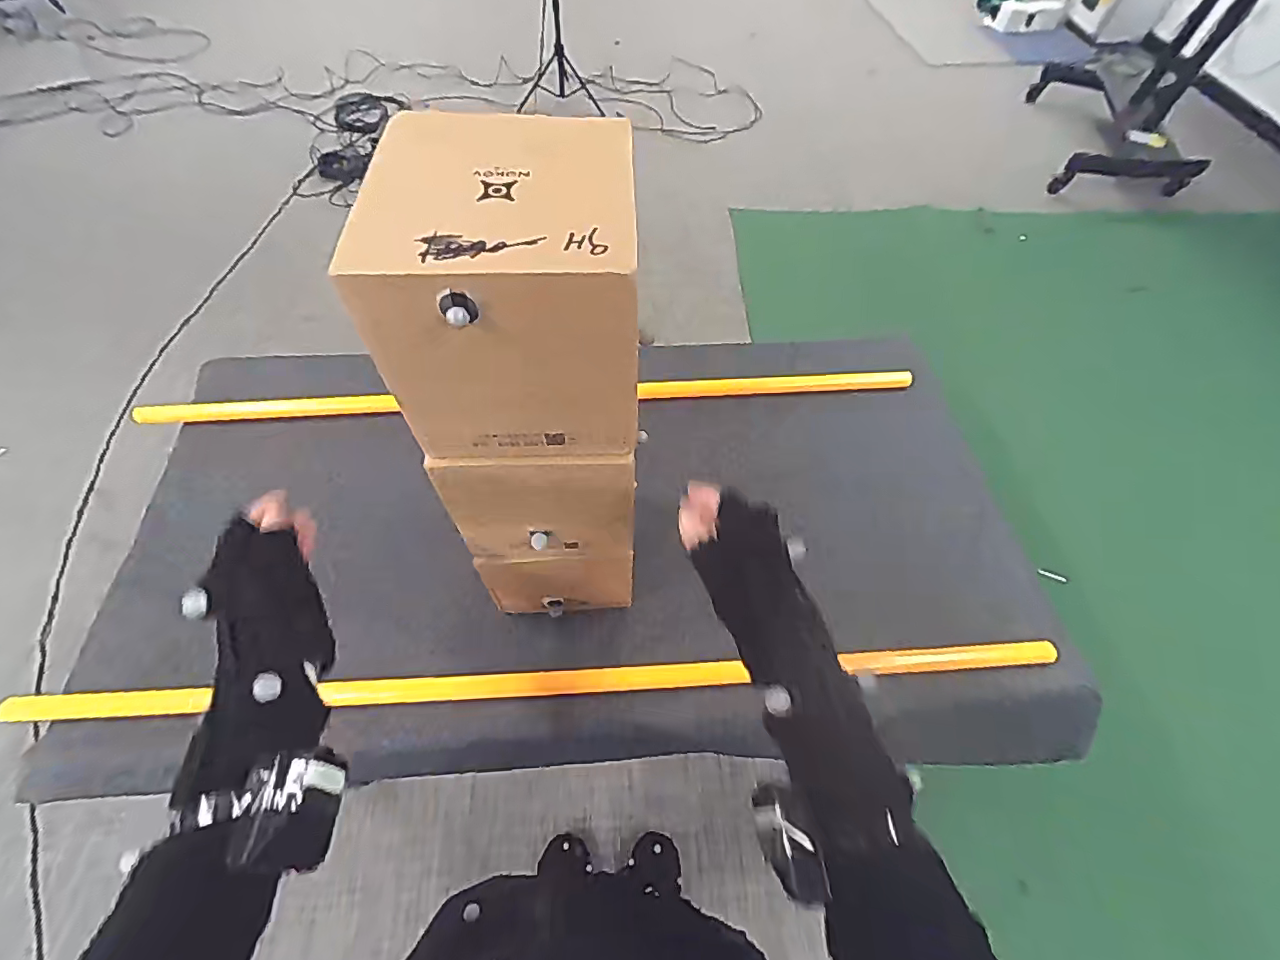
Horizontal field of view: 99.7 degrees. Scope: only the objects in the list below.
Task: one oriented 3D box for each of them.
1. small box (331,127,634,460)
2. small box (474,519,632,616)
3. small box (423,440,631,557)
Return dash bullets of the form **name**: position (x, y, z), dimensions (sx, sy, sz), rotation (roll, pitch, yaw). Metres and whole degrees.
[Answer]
- **small box**: position (-0.089, -0.134, 0.405), dimensions (0.168, 0.176, 0.179), rotation (-1, 56, -1)
- **small box**: position (-0.099, 0.055, 0.674), dimensions (0.168, 0.176, 0.179), rotation (-4, 59, -4)
- **small box**: position (-0.093, -0.038, 0.538), dimensions (0.168, 0.176, 0.179), rotation (-1, 58, -2)
